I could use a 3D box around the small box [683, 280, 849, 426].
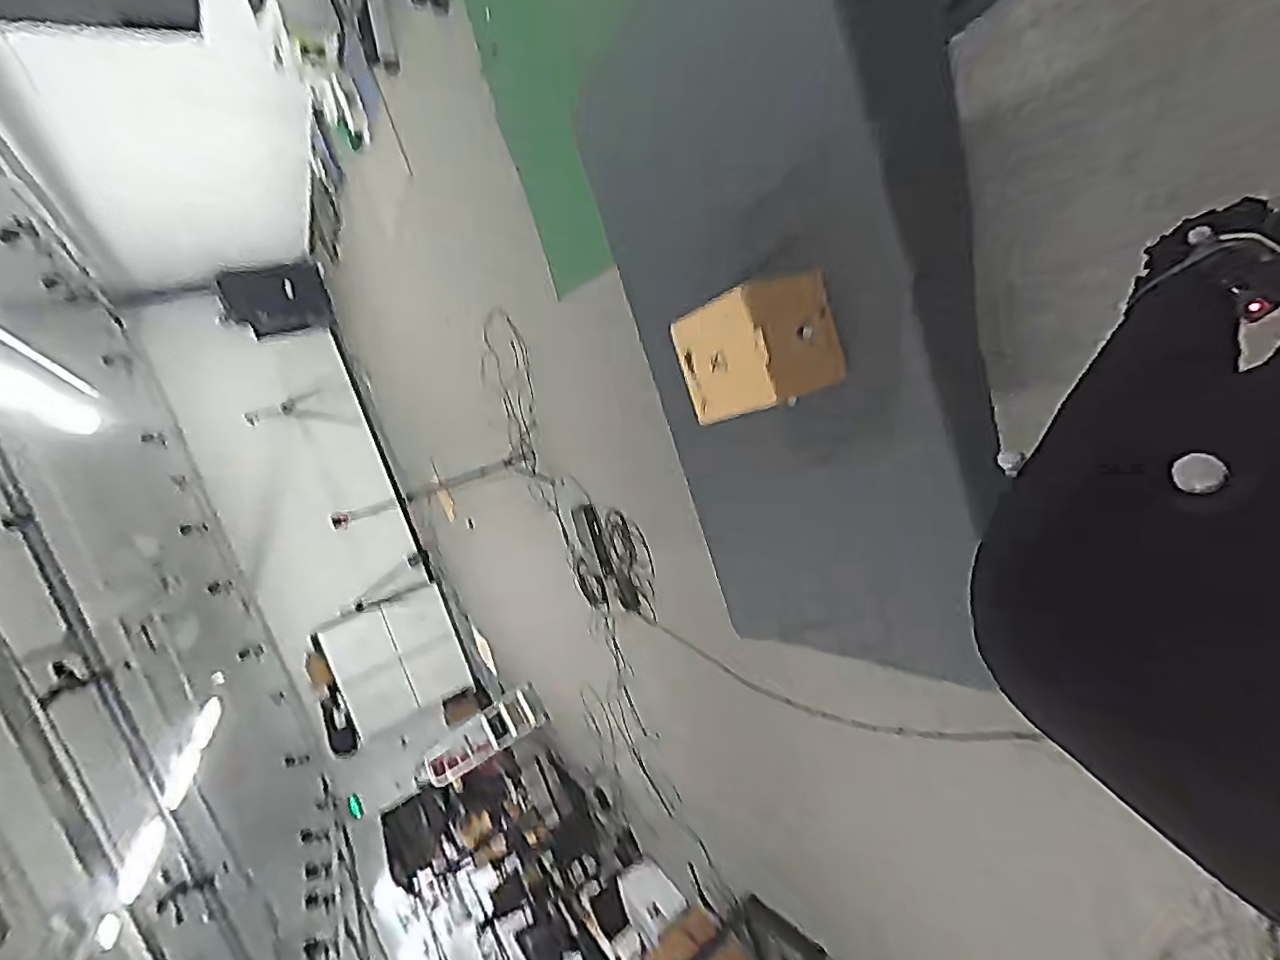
[{"bbox_3d":[0.204,-0.199,0.856,0.179,0.176,0.168,-9,101,59],"label":"small box"}]
